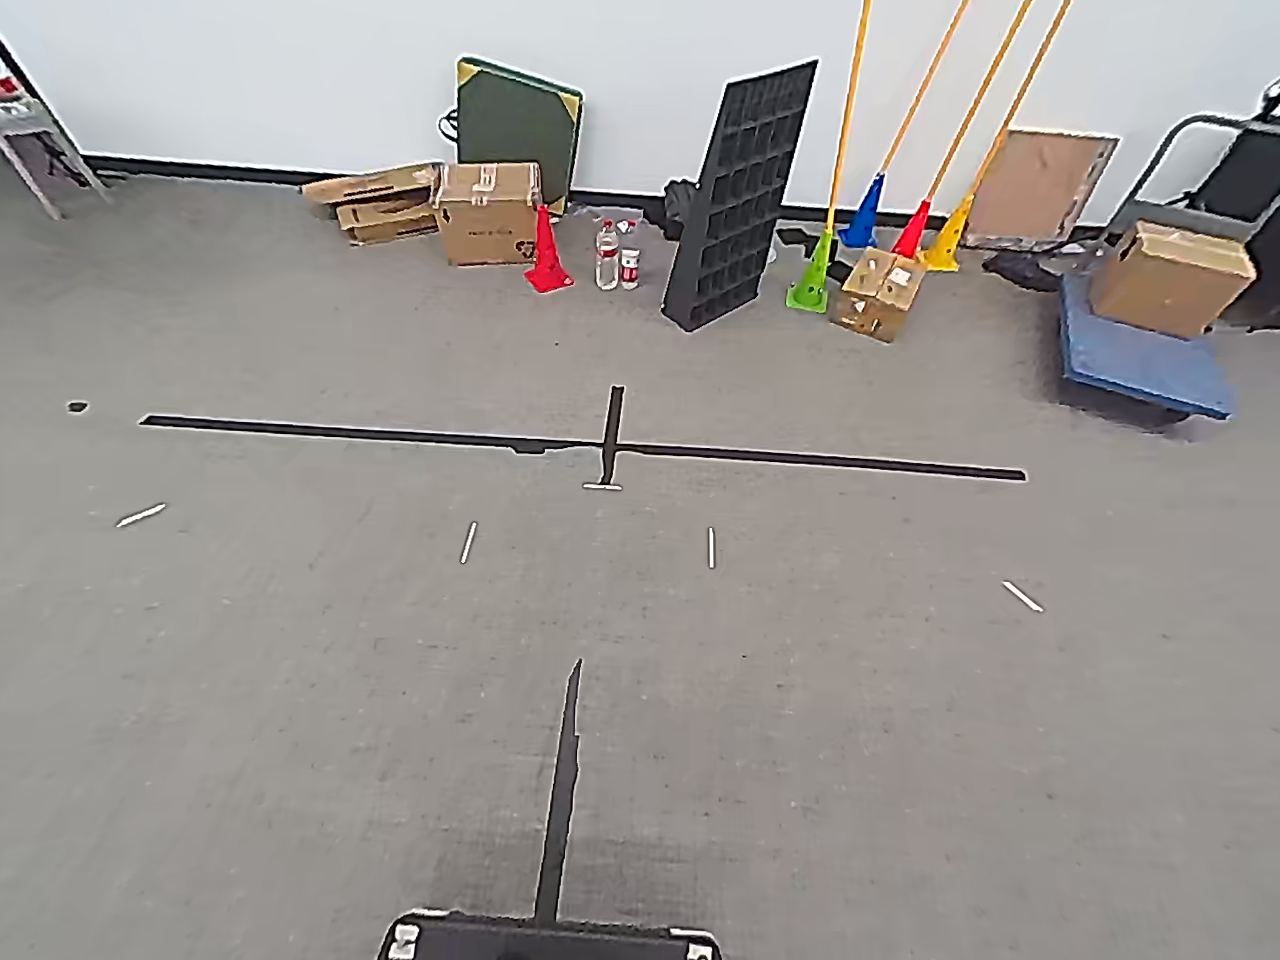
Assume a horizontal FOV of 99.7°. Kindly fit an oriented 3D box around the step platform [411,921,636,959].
[{"bbox_3d":[-0.128,1.060,1.010,0.684,0.204,0.286,8,50,2],"label":"step platform"}]
